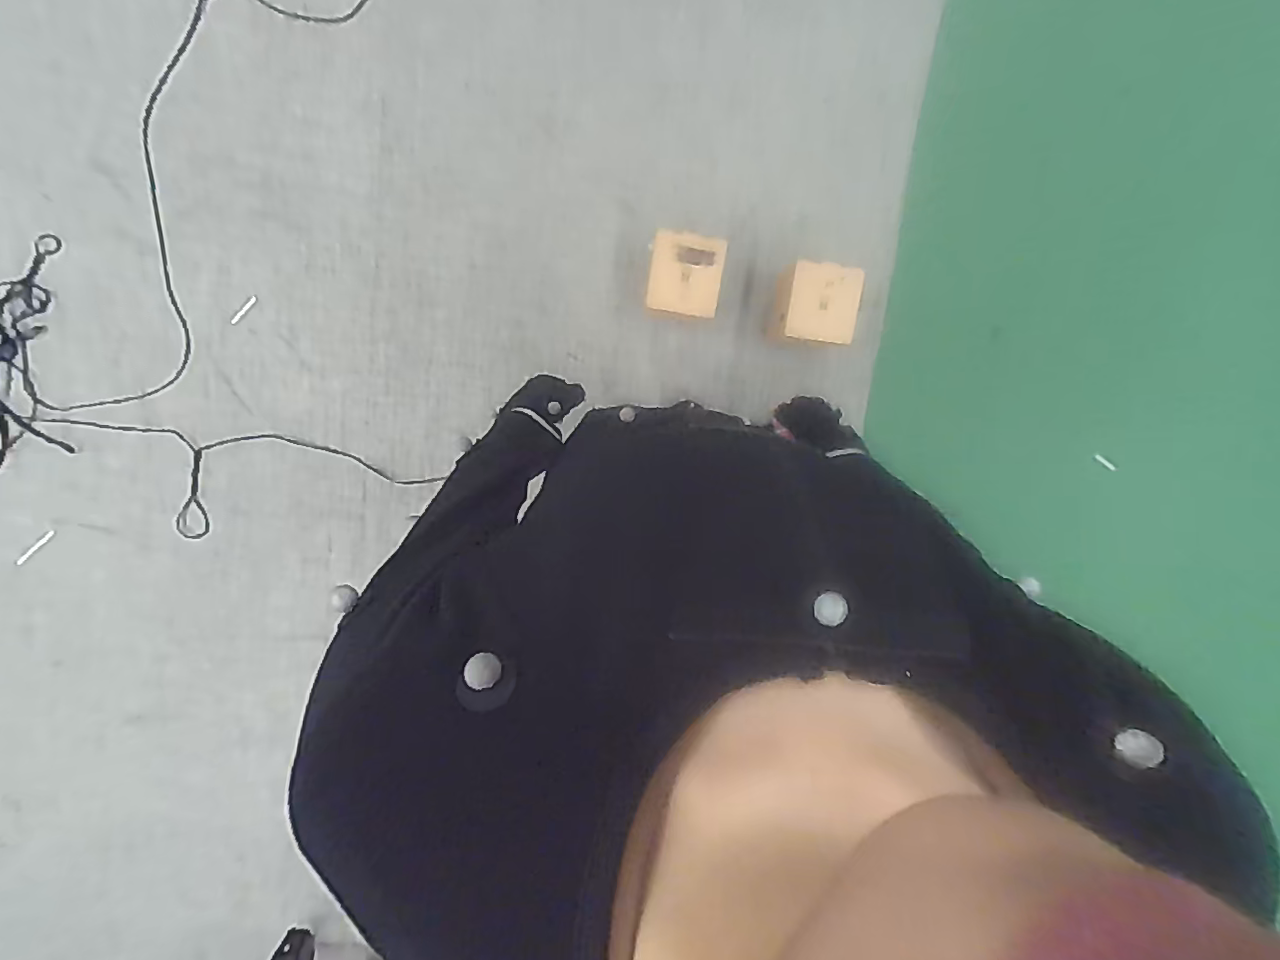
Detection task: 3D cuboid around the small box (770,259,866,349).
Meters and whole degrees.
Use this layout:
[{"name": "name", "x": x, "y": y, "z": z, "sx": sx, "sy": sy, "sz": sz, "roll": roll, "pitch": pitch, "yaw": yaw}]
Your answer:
[{"name": "small box", "x": 0.432, "y": -0.426, "z": 1.340, "sx": 0.168, "sy": 0.176, "sz": 0.179, "roll": 7, "pitch": 98, "yaw": -3}]
